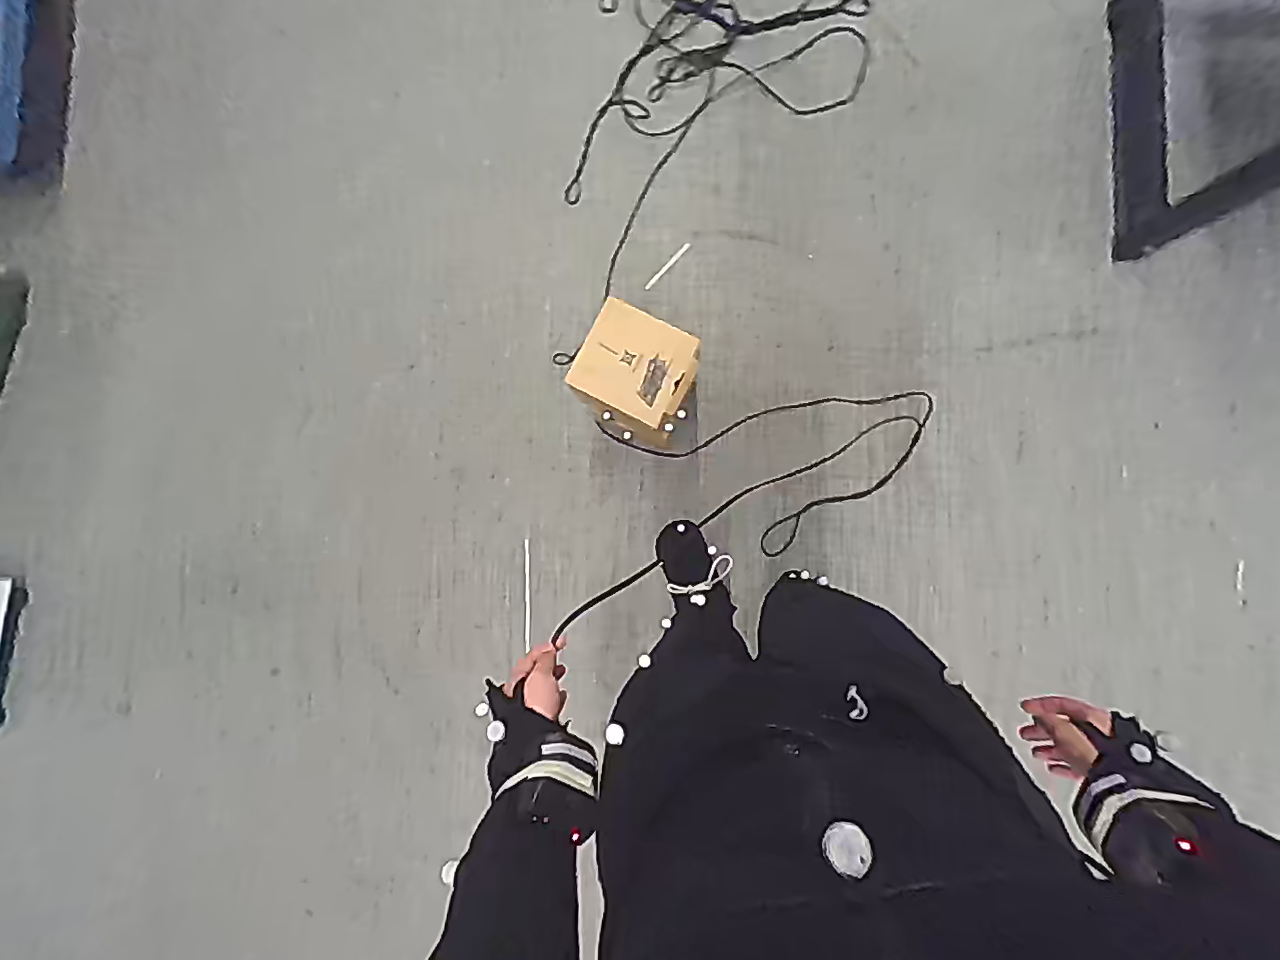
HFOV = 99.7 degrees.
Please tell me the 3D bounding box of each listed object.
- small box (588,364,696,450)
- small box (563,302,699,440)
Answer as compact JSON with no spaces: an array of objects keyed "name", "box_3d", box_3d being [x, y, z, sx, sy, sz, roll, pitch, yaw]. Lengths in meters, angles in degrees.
[{"name":"small box","box_3d":[0.010,-0.173,1.134,0.168,0.176,0.179,23,88,4]},{"name":"small box","box_3d":[-0.010,-0.182,0.970,0.179,0.176,0.168,28,88,5]}]
